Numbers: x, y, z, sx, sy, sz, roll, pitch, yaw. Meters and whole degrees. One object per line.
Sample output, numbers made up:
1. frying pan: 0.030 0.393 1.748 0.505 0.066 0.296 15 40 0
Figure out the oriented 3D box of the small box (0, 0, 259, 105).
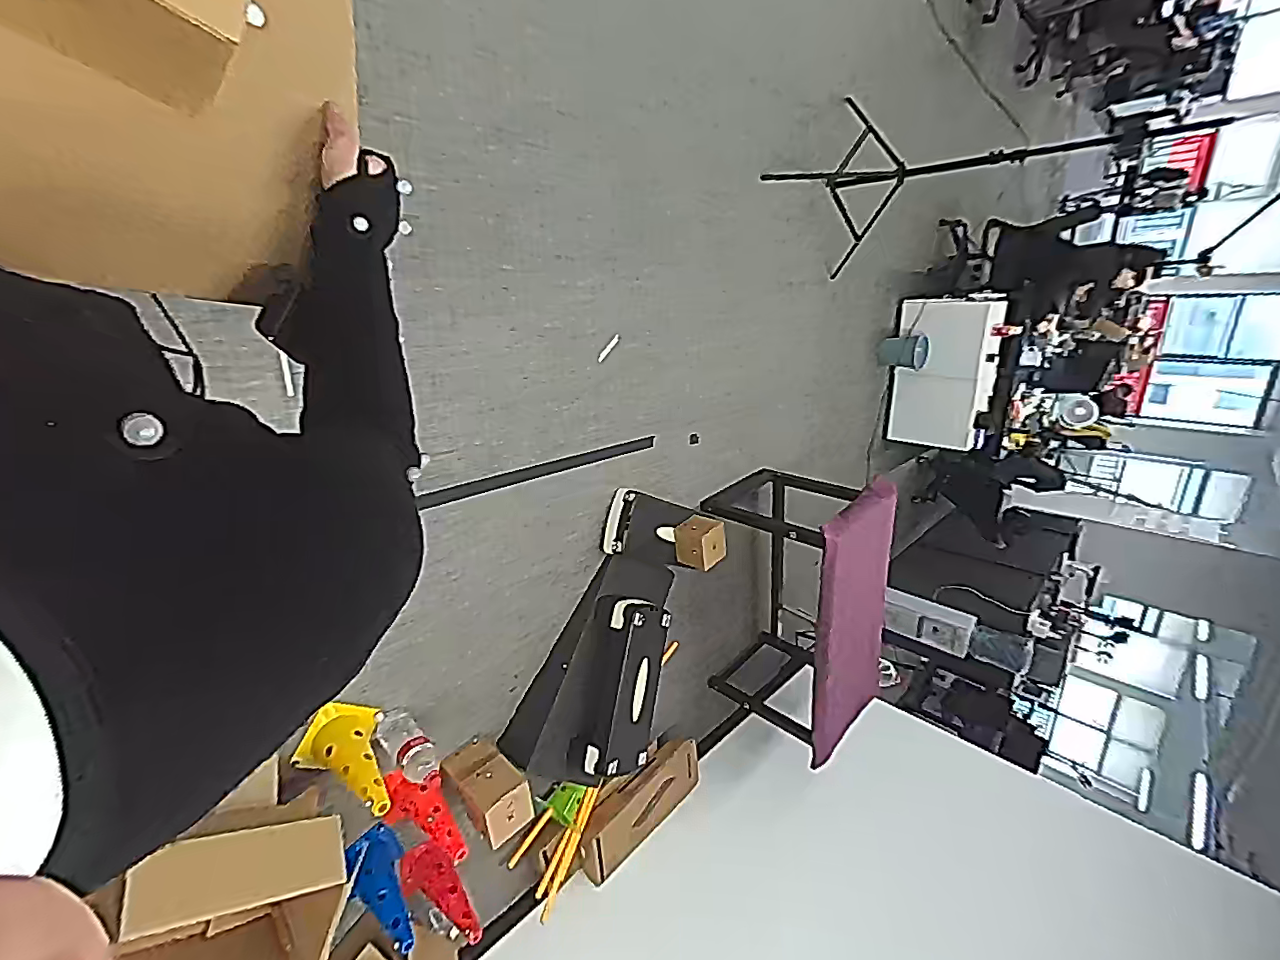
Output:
1. small box: -0.362 -0.387 0.354 0.179 0.176 0.168 10 93 -45
